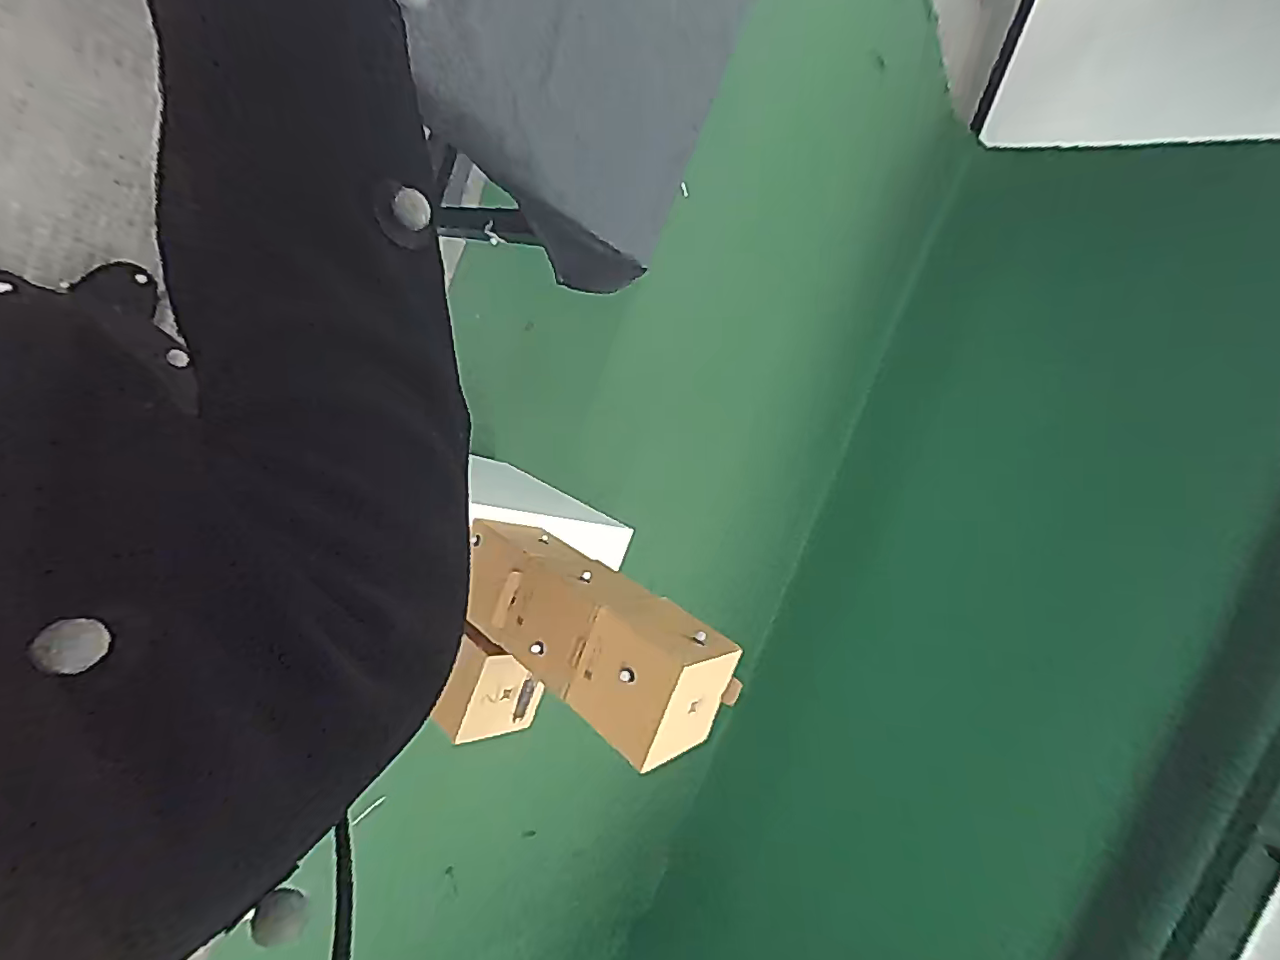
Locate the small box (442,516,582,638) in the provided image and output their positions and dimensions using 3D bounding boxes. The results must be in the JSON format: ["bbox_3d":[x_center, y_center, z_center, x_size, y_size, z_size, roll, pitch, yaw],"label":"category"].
[{"bbox_3d":[-0.238,0.177,1.015,0.179,0.176,0.168,16,97,-55],"label":"small box"}]

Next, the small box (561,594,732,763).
[{"bbox_3d":[0.008,0.290,0.835,0.179,0.176,0.168,10,103,-54],"label":"small box"}]

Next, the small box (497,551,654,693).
[{"bbox_3d":[-0.113,0.232,0.927,0.179,0.176,0.168,12,102,-55],"label":"small box"}]
